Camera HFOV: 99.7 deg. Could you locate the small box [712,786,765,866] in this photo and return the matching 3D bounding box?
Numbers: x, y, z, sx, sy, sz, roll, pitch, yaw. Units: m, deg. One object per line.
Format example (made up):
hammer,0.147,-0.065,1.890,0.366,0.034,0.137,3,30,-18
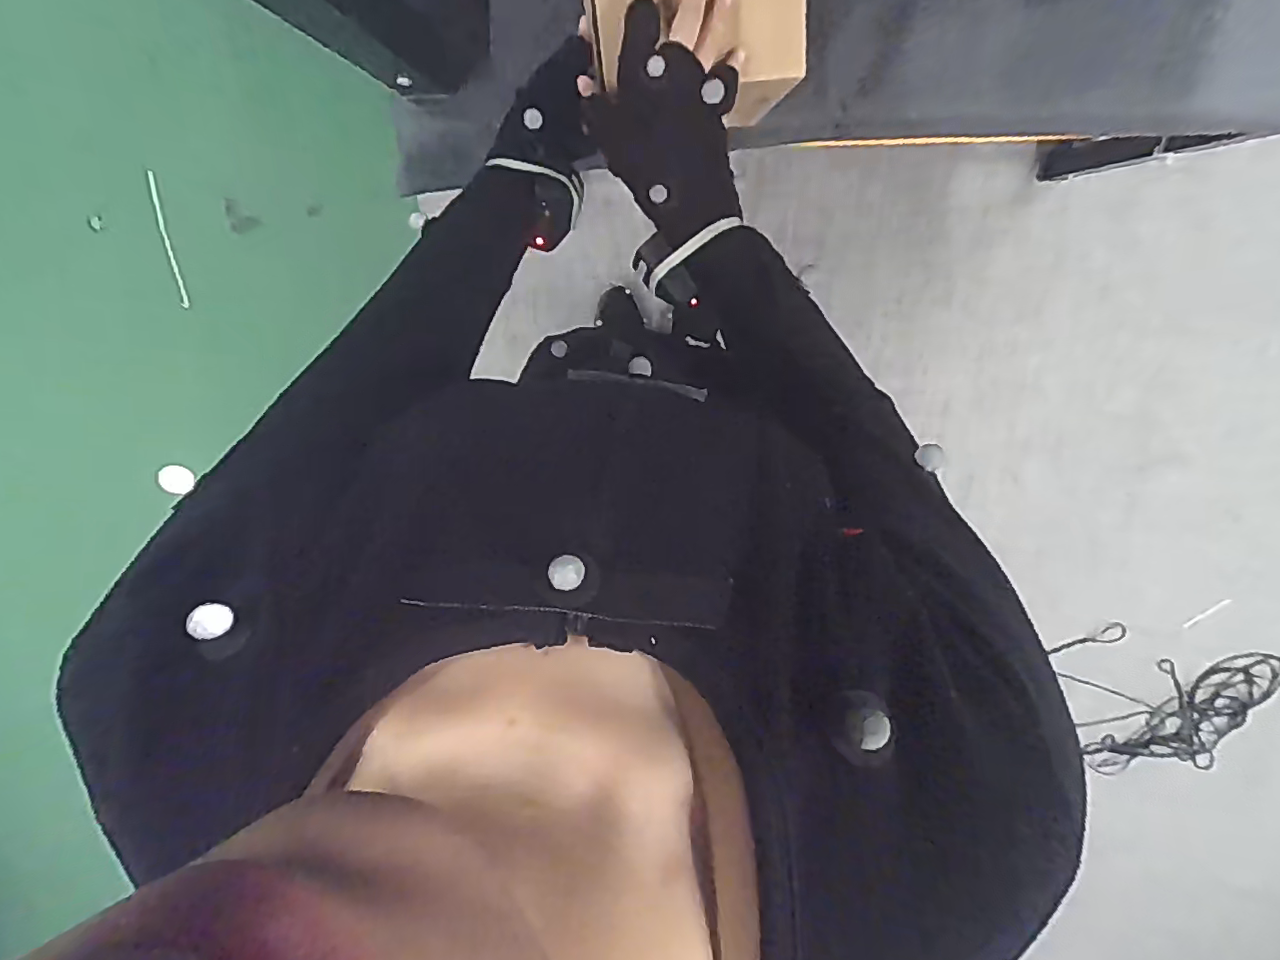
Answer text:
small box,0.341,1.213,1.898,0.168,0.176,0.179,-3,110,4
